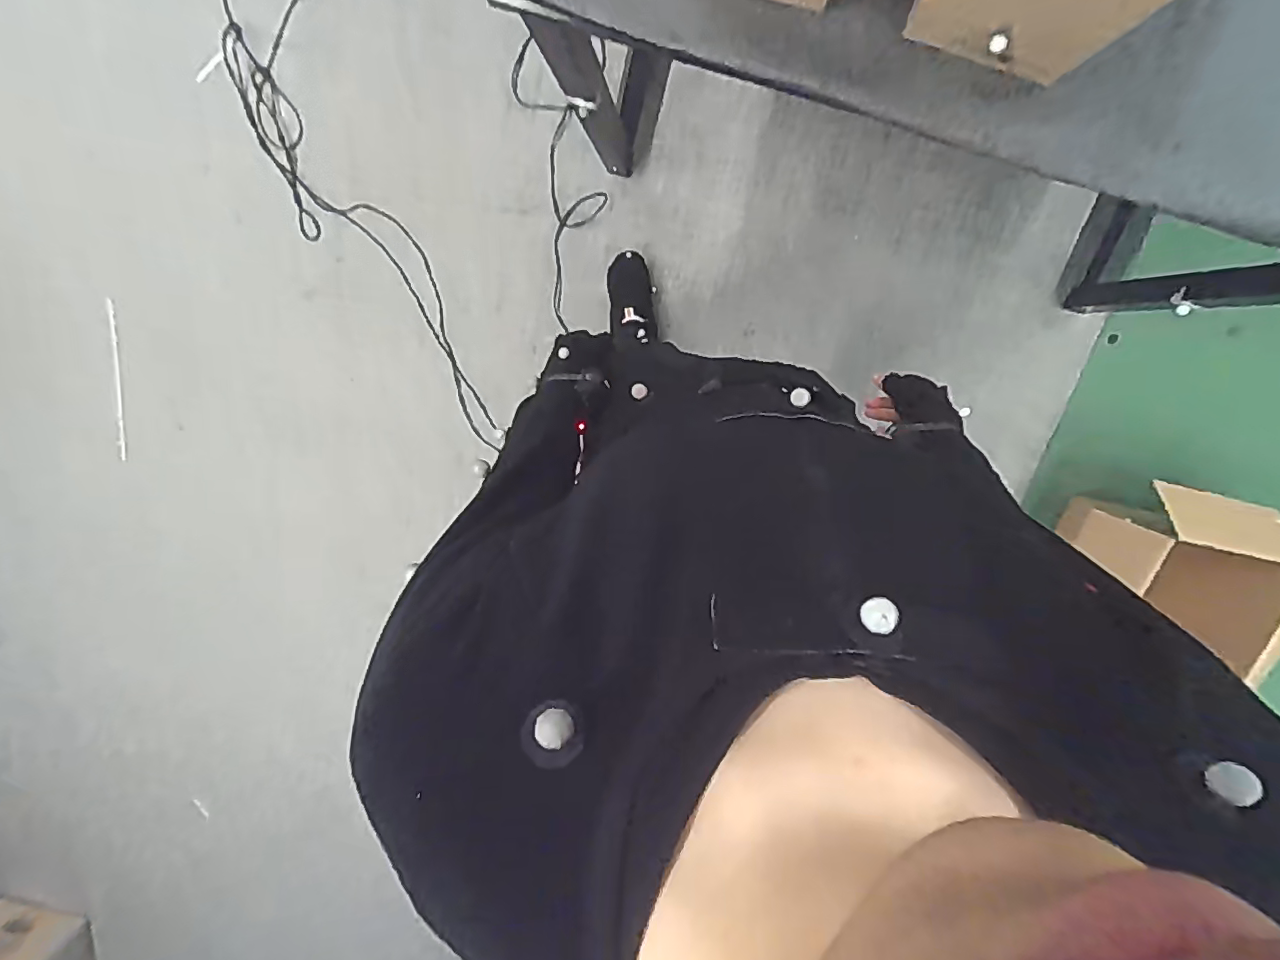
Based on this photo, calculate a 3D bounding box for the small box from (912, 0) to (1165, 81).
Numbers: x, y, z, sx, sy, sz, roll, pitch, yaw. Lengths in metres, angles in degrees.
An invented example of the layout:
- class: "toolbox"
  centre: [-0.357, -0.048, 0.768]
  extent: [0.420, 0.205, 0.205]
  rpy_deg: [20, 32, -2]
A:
- class: "small box"
  centre: [0.370, -0.498, 0.466]
  extent: [0.168, 0.176, 0.179]
  rpy_deg: [19, 106, -1]
